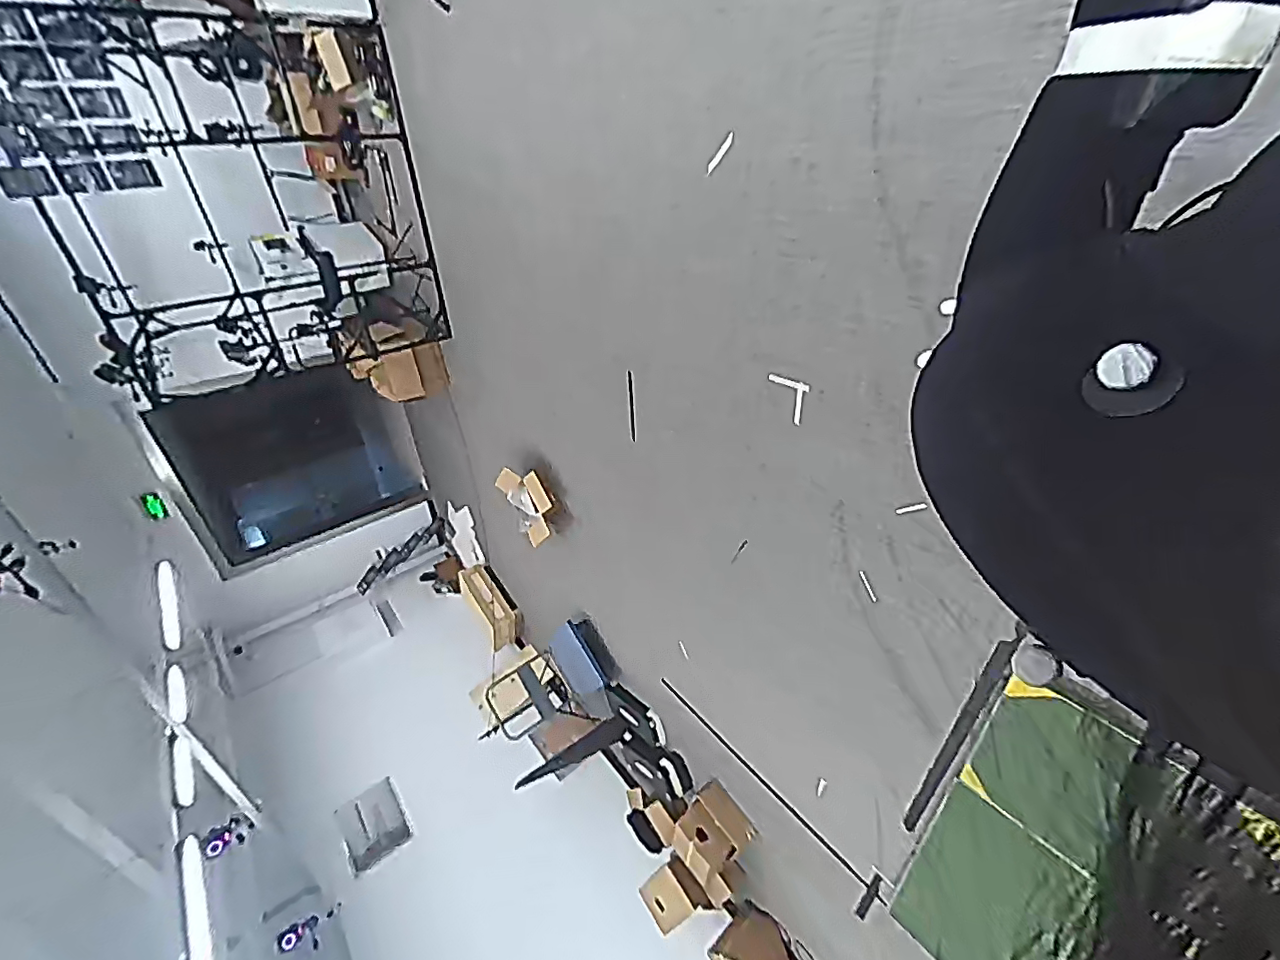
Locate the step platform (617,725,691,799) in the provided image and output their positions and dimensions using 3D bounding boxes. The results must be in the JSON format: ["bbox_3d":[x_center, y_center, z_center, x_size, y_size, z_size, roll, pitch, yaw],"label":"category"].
[{"bbox_3d":[0.090,2.176,4.185,0.684,0.204,0.286,-5,107,57],"label":"step platform"}]
